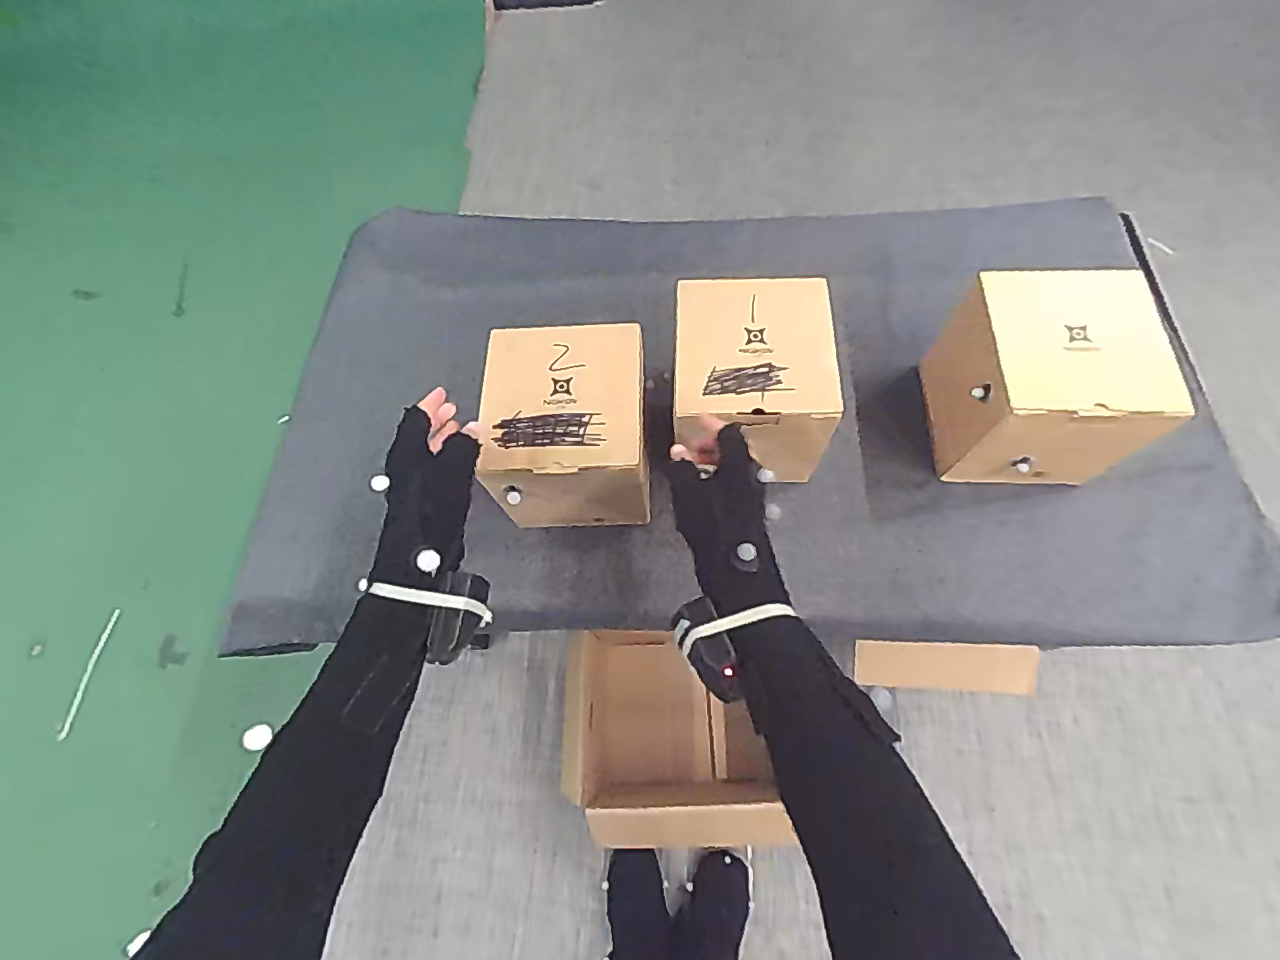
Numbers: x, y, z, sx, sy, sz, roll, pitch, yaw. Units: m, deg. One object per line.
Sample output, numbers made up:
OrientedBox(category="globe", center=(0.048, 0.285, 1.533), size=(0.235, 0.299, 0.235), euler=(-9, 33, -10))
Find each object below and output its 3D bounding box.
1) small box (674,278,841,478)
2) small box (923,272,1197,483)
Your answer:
OrientedBox(category="small box", center=(0.126, -0.110, 0.636), size=(0.168, 0.176, 0.179), euler=(1, 66, 4))
OrientedBox(category="small box", center=(0.446, -0.110, 0.614), size=(0.168, 0.176, 0.179), euler=(1, 68, 5))
